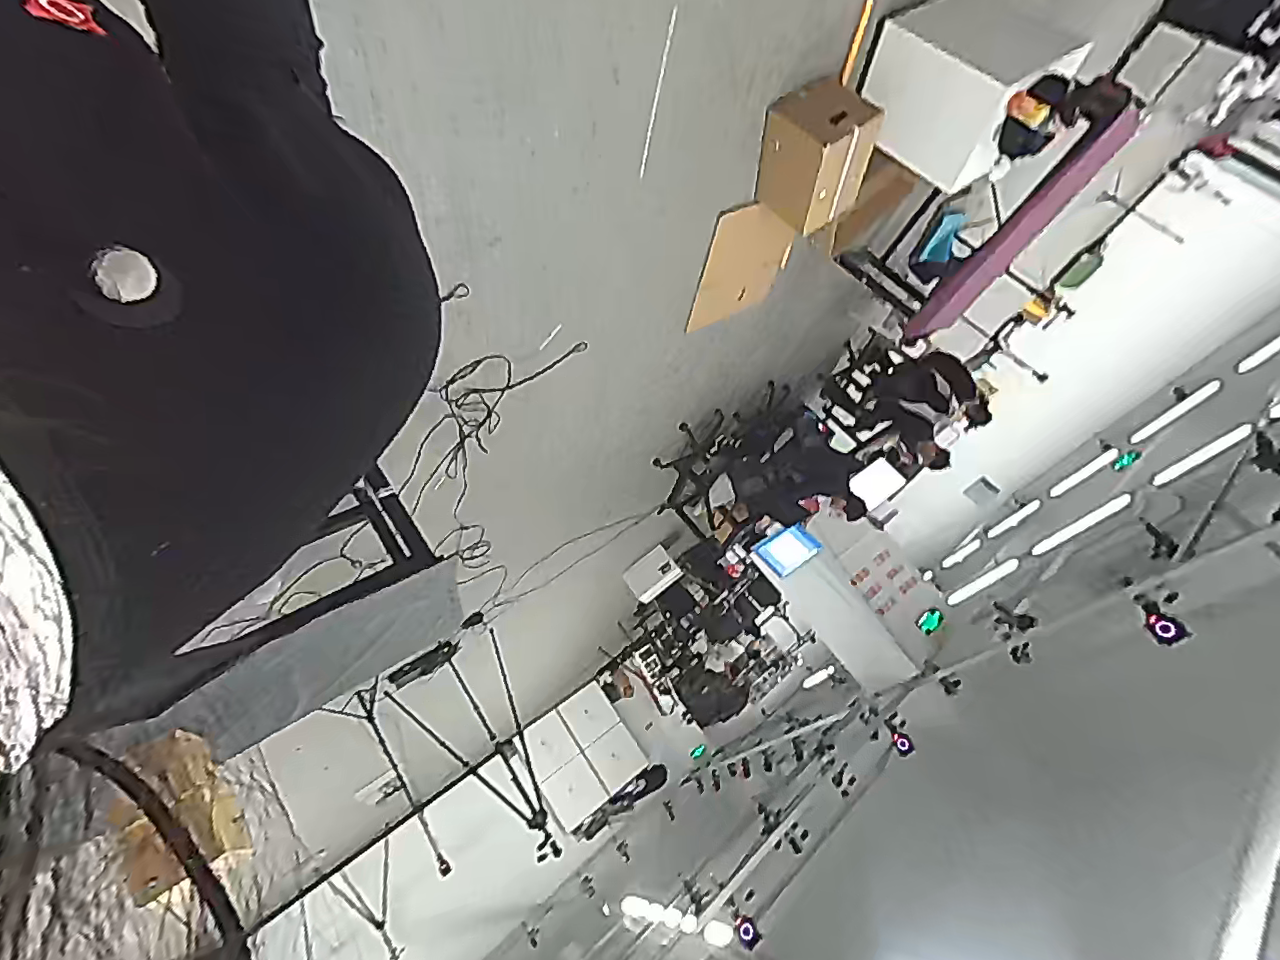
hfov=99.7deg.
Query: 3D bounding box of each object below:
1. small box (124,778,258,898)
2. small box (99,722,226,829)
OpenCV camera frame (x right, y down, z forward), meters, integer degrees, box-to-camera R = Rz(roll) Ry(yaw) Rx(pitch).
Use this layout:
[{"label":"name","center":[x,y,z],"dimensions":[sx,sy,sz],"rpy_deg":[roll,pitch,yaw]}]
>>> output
[{"label":"small box","center":[-1.073,0.849,1.300],"dimensions":[0.179,0.176,0.168],"rpy_deg":[-29,158,-27]},{"label":"small box","center":[-1.176,0.729,1.340],"dimensions":[0.168,0.176,0.179],"rpy_deg":[-29,158,-28]}]
